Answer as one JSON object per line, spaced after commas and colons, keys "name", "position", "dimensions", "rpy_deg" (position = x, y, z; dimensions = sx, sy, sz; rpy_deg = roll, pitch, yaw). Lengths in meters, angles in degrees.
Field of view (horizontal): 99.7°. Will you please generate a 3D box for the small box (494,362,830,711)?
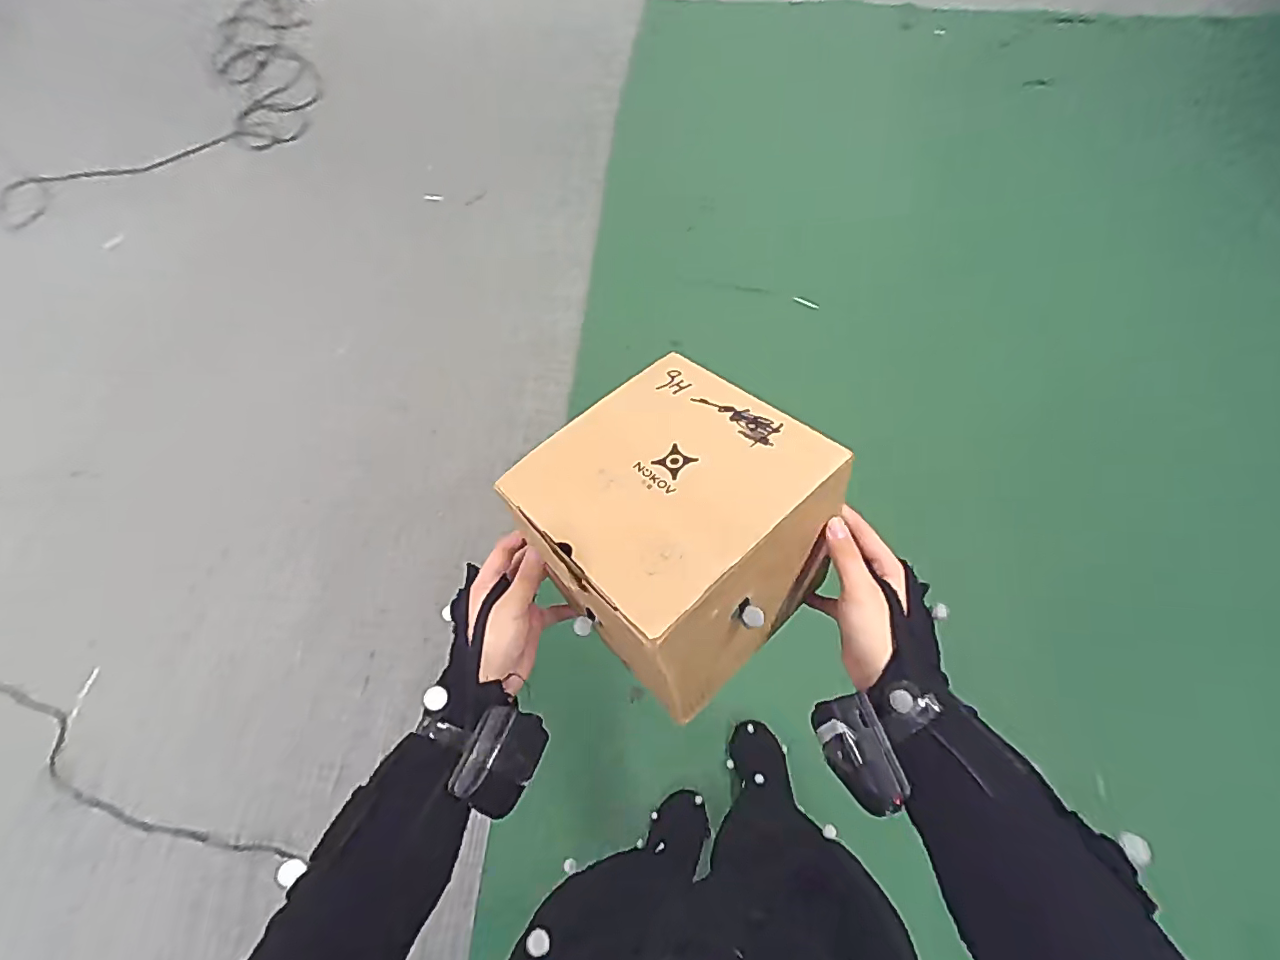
{"name": "small box", "position": [0.025, 0.047, 0.426], "dimensions": [0.179, 0.176, 0.168], "rpy_deg": [-40, 55, -19]}
